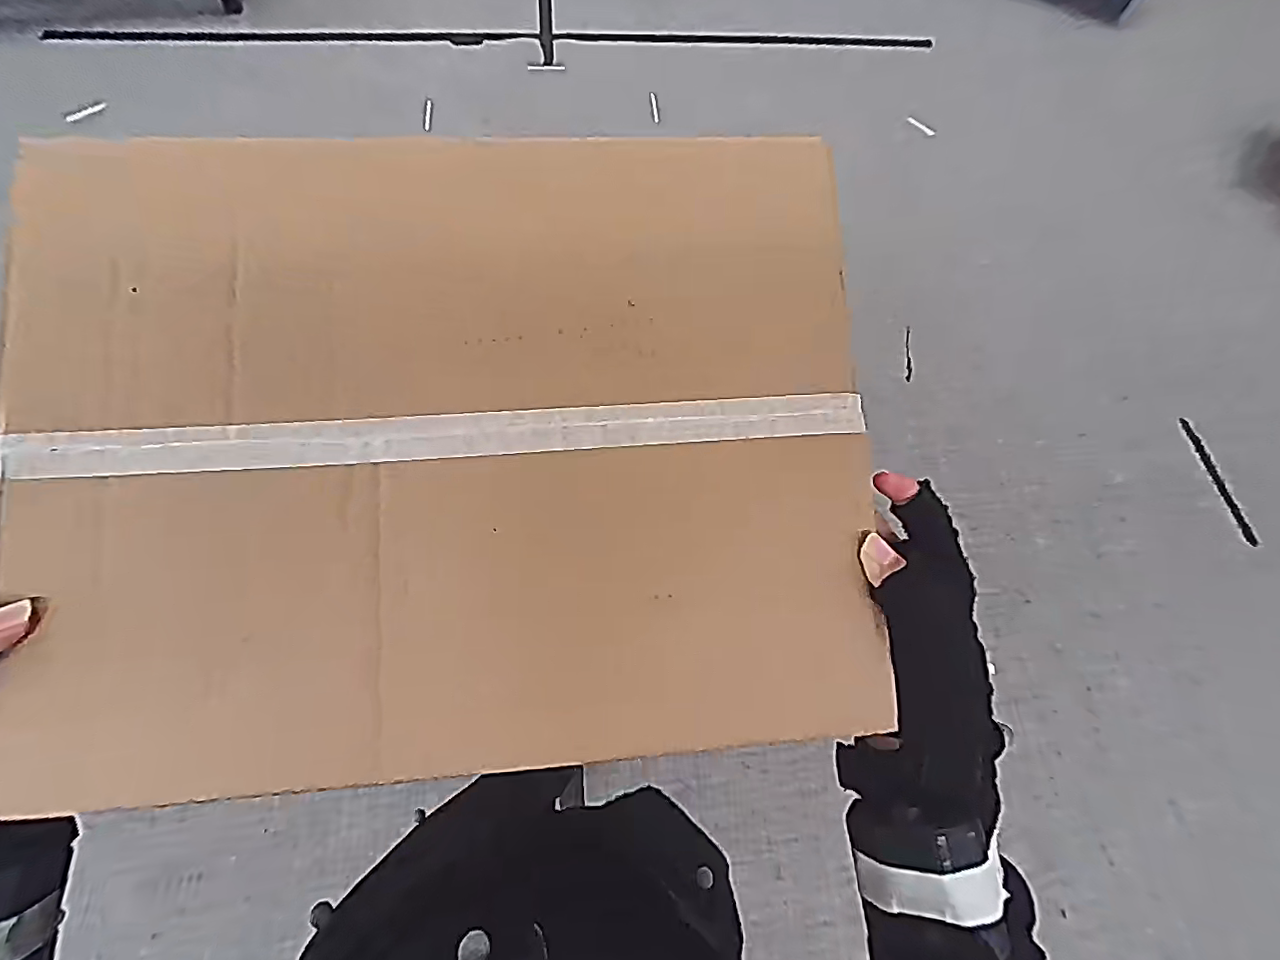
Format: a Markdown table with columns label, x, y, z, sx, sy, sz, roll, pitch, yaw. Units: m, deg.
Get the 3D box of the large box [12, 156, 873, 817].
| label | x | y | z | sx | sy | sz | roll | pitch | yaw |
| --- | --- | --- | --- | --- | --- | --- | --- | --- | --- |
| large box | -0.099 | 0.000 | 0.418 | 0.408 | 0.320 | 0.320 | -3 | 83 | -5 |
